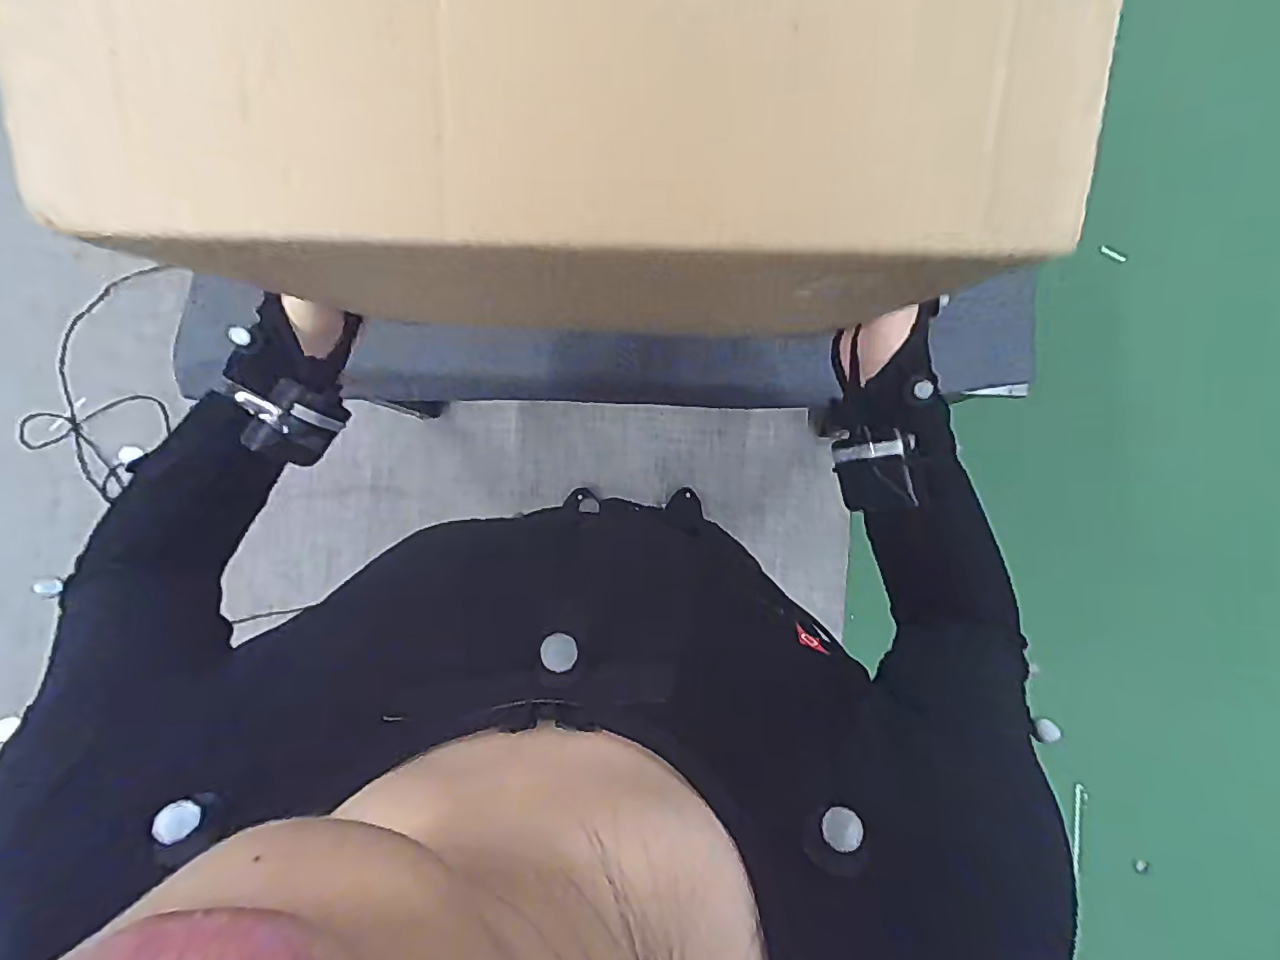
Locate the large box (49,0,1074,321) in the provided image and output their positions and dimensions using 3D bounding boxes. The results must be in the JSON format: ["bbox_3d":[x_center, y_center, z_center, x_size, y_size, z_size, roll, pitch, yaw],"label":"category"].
[{"bbox_3d":[-0.030,-0.281,0.345,0.408,0.320,0.320,1,100,1],"label":"large box"}]
